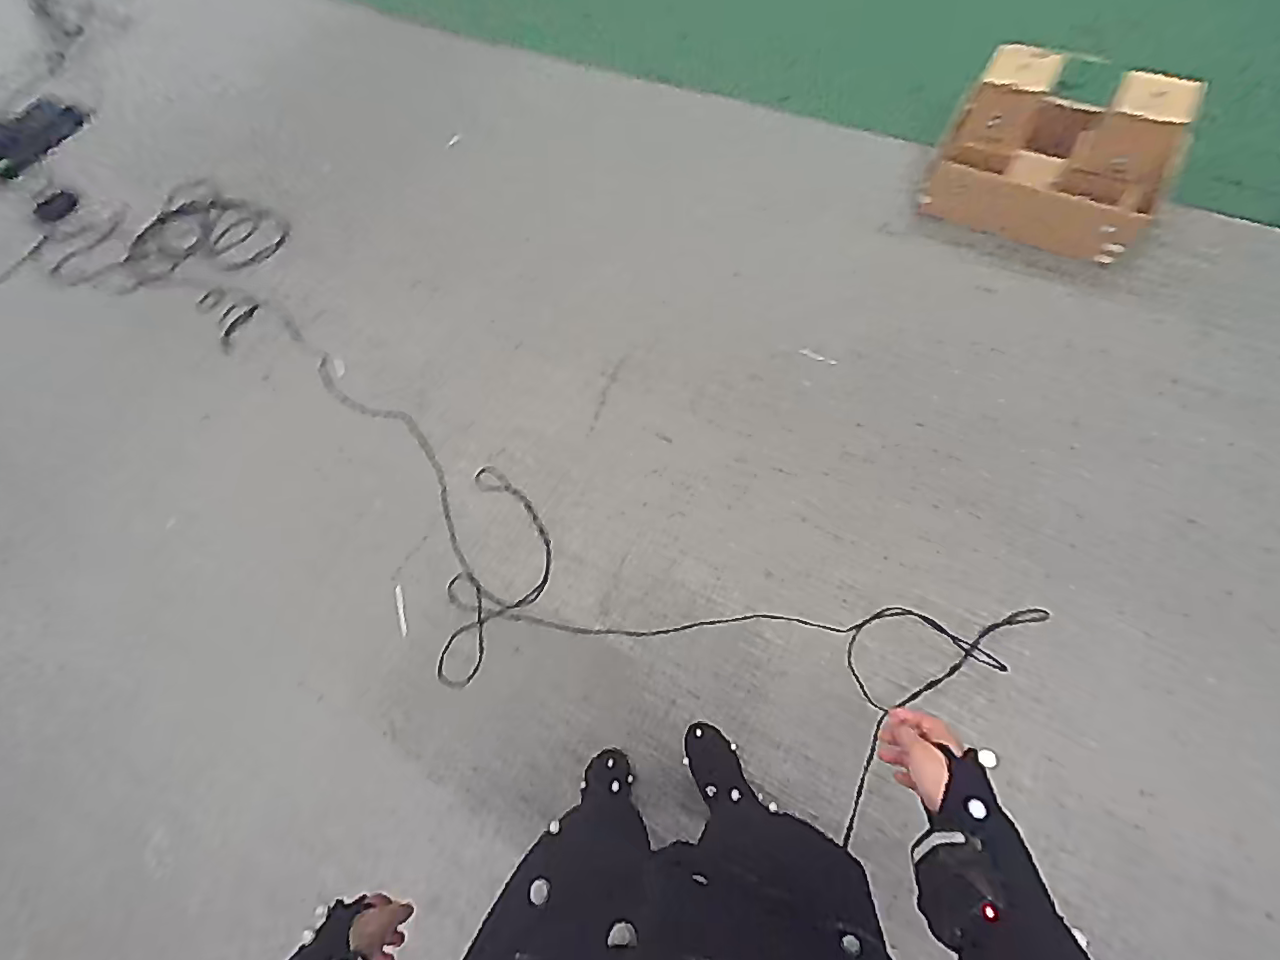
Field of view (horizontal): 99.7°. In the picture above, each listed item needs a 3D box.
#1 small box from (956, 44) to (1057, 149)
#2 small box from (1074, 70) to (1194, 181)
[{"bbox_3d":[1.045,-1.099,1.559,0.168,0.176,0.179,28,74,16],"label":"small box"},{"bbox_3d":[1.332,-0.960,1.469,0.168,0.176,0.179,25,73,17],"label":"small box"}]
